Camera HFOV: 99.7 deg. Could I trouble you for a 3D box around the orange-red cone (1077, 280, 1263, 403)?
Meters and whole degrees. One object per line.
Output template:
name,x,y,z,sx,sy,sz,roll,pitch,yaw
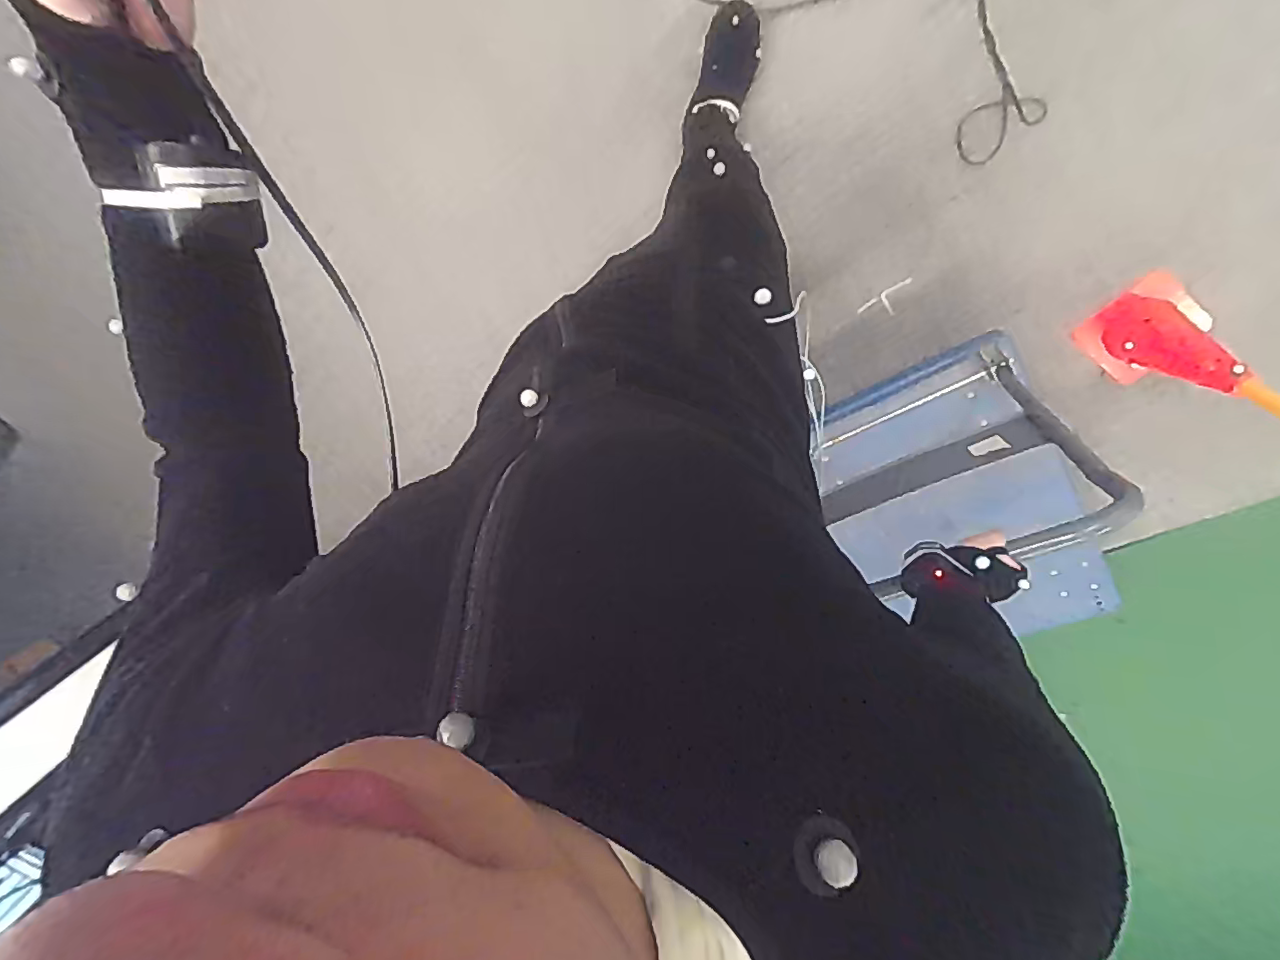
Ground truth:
orange-red cone,1.117,-0.244,1.101,0.198,0.360,0.199,38,122,-10
